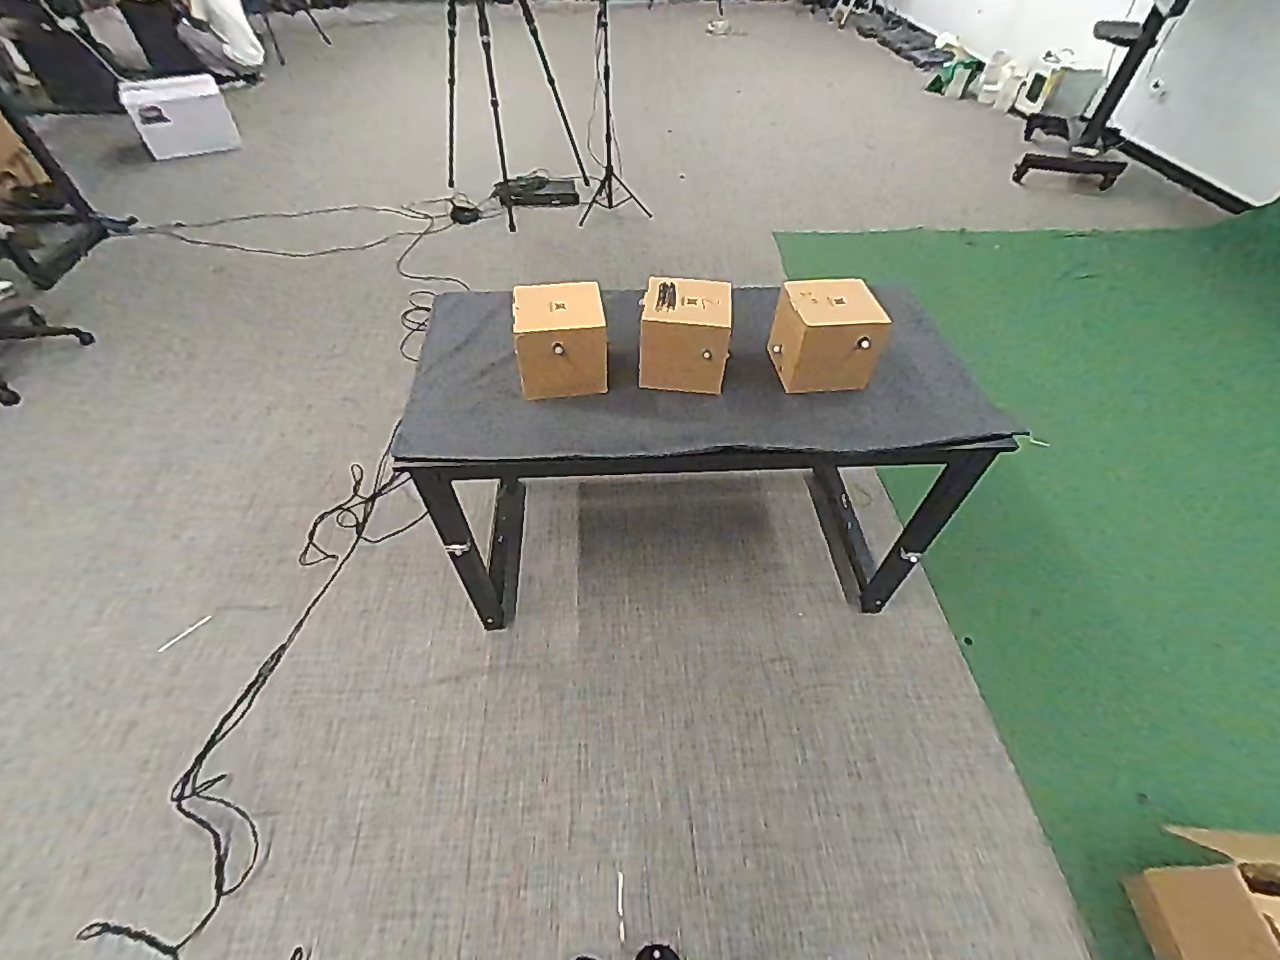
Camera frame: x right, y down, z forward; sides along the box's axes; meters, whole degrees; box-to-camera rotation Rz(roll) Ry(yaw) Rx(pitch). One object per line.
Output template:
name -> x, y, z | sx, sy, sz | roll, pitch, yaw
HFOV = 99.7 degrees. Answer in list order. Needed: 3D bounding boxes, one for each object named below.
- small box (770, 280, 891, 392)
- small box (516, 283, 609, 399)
small box -> 0.393, -0.304, 1.148 | 0.179, 0.176, 0.168 | -4, 49, -4
small box -> -0.159, -0.287, 1.127 | 0.179, 0.176, 0.168 | -7, 50, -6
